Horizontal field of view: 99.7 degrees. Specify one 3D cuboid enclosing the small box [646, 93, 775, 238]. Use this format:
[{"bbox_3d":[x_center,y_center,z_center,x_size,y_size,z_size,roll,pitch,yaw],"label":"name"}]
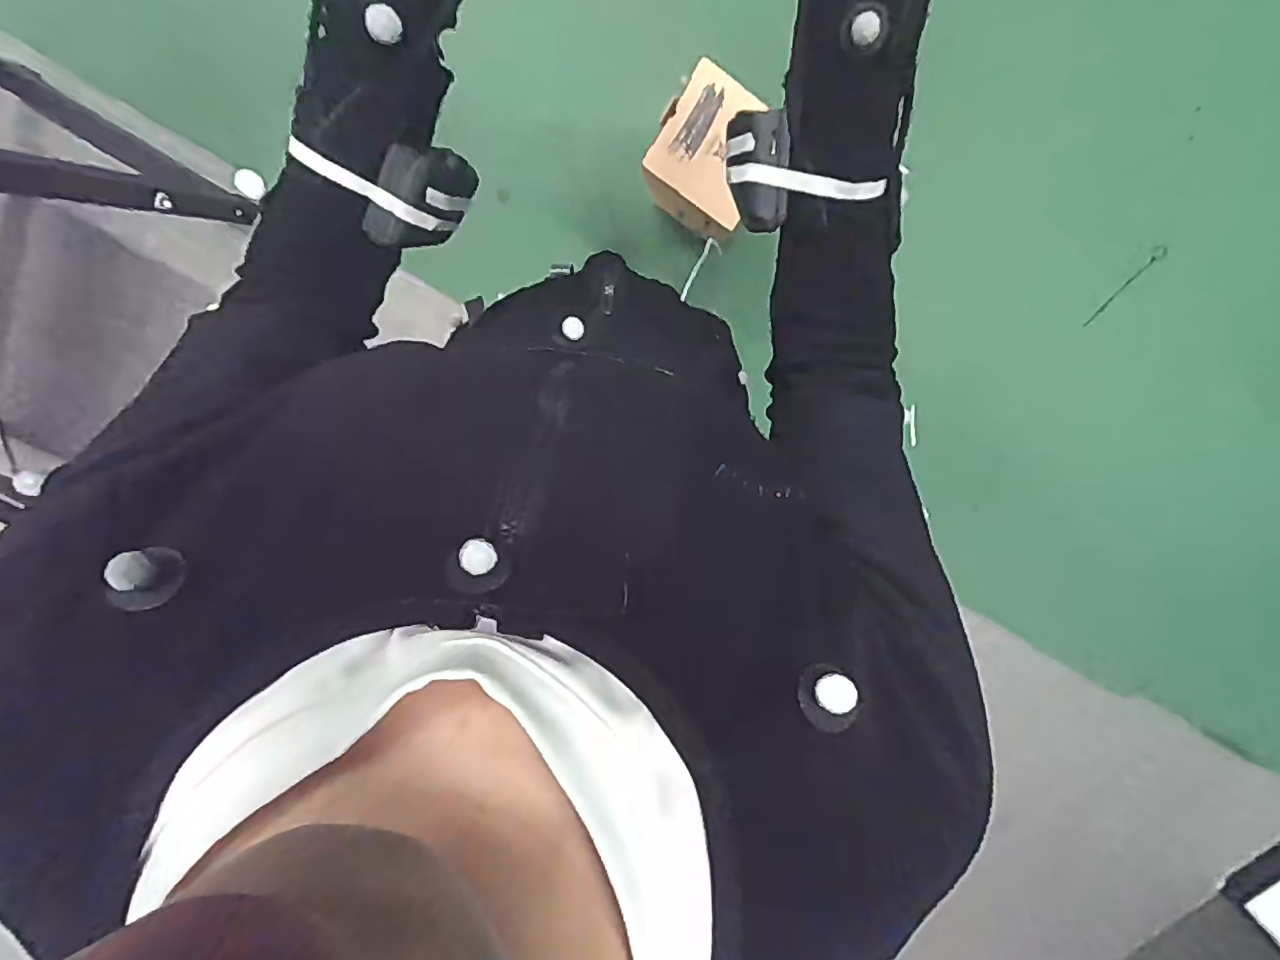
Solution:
[{"bbox_3d":[0.129,-0.589,1.040,0.179,0.176,0.168,33,108,-10],"label":"small box"}]
